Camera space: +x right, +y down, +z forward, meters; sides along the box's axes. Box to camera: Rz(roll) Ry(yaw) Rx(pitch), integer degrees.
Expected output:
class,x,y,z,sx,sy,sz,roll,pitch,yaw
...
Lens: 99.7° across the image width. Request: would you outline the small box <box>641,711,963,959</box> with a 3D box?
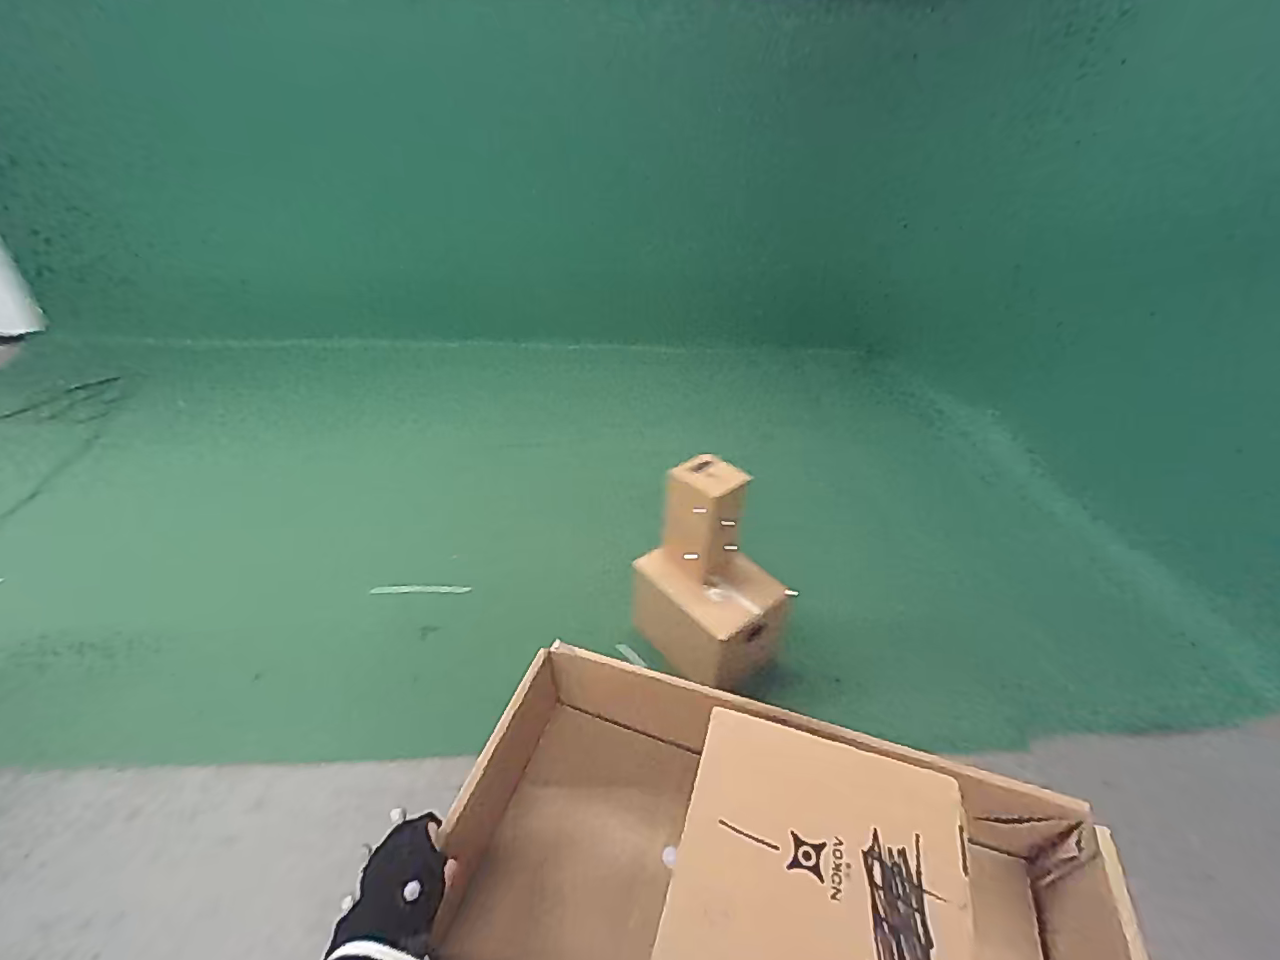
class,x,y,z,sx,sy,sz,roll,pitch,yaw
small box,0.108,0.305,0.390,0.179,0.176,0.168,10,40,15
